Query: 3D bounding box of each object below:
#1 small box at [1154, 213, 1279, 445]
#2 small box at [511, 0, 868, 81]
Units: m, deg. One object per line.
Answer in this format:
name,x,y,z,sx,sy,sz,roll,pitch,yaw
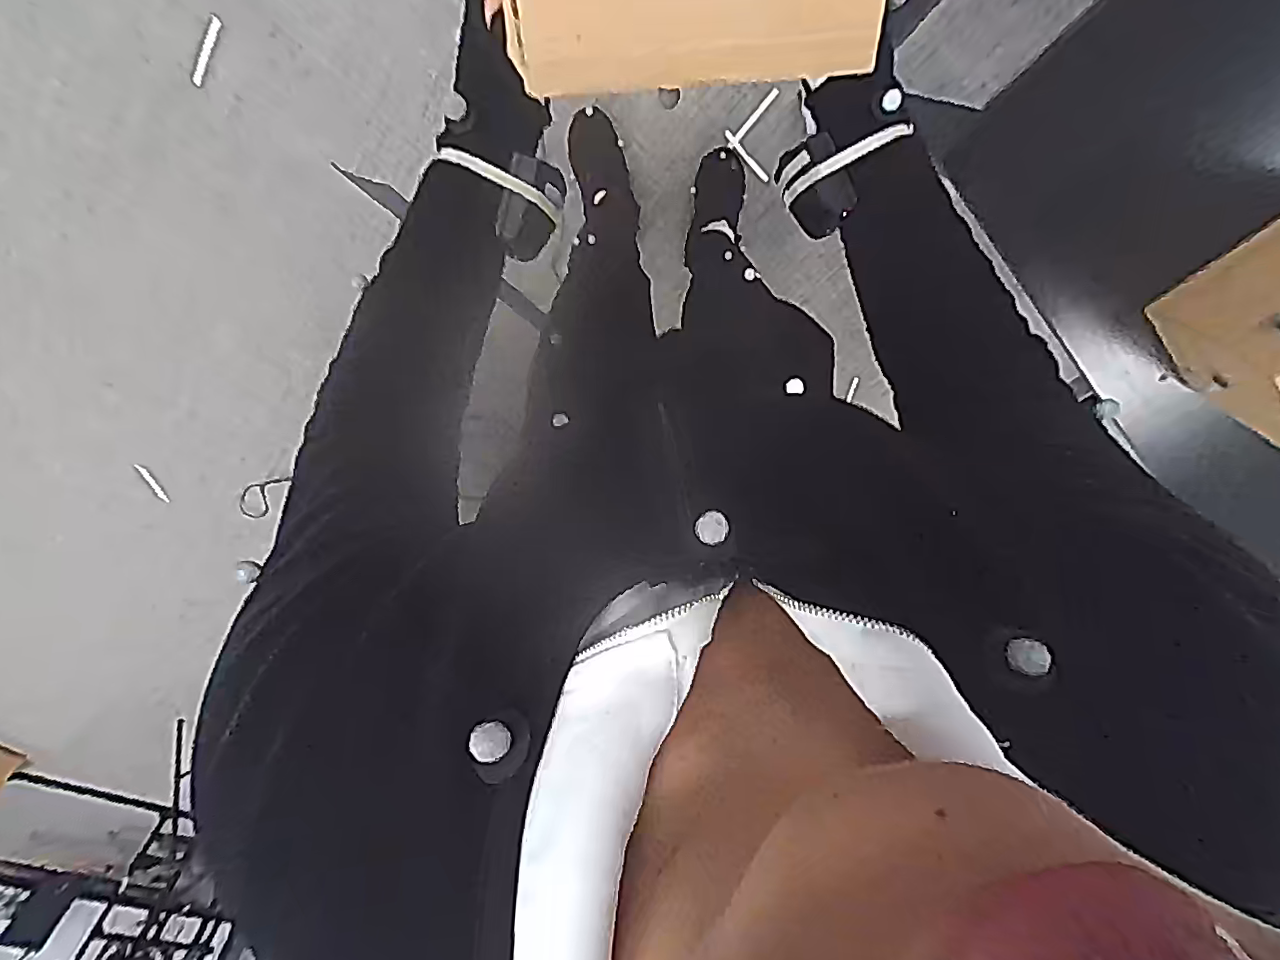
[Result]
small box,0.694,-0.160,0.558,0.168,0.176,0.179,34,121,-25
small box,0.021,-0.324,0.289,0.179,0.176,0.168,-3,132,1
